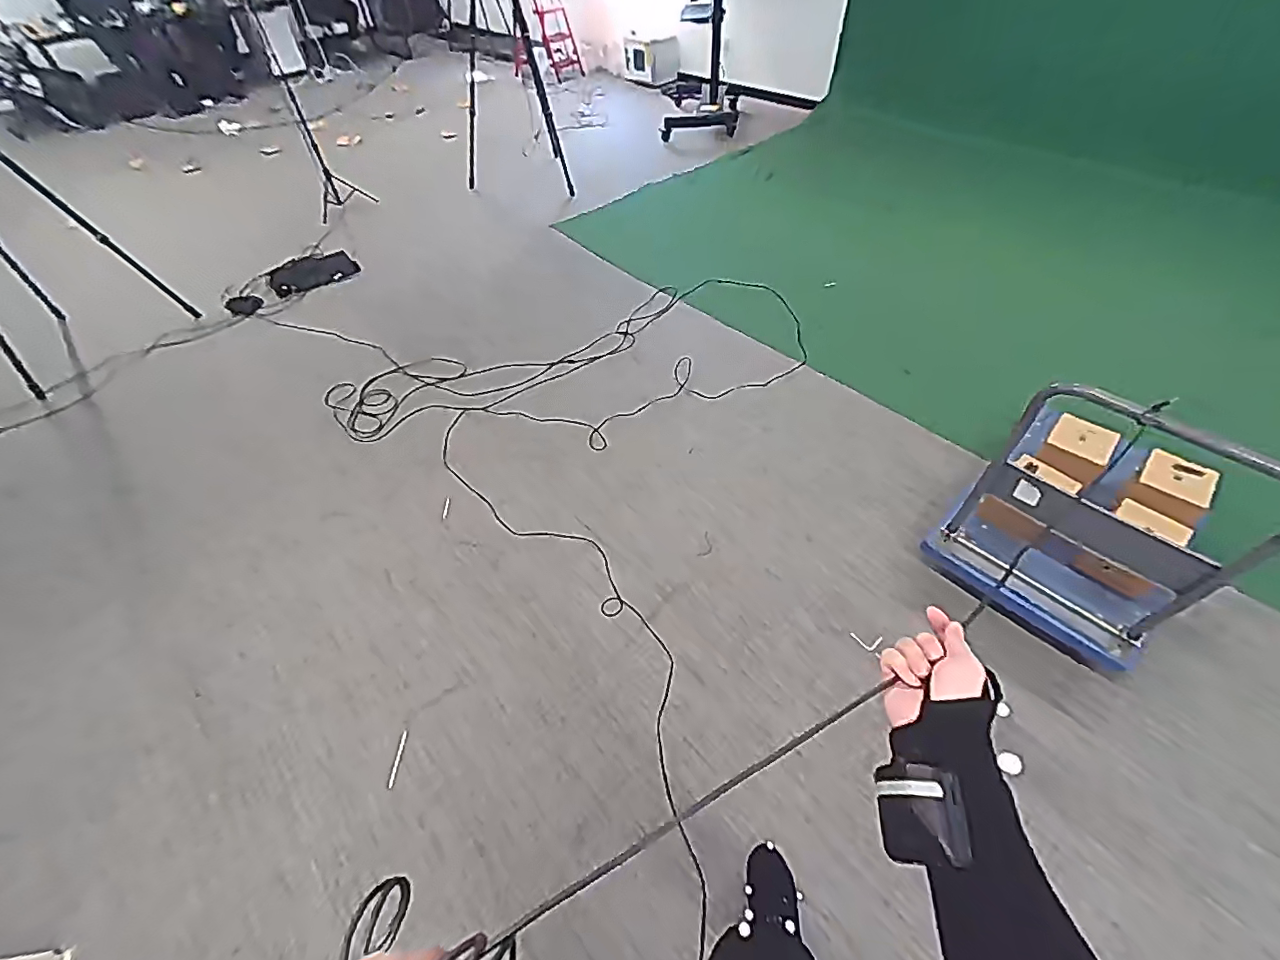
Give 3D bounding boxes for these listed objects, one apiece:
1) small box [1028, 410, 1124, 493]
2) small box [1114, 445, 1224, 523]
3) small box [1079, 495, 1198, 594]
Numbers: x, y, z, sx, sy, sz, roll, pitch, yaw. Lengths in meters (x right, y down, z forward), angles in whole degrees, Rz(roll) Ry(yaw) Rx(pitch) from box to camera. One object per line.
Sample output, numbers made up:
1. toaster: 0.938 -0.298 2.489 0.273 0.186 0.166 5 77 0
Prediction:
1. small box: 1.400 -0.088 1.749 0.168 0.176 0.179 34 60 28
2. small box: 1.585 0.033 1.629 0.168 0.176 0.179 34 61 29
3. small box: 1.389 0.183 1.519 0.179 0.176 0.168 -37 56 -23
